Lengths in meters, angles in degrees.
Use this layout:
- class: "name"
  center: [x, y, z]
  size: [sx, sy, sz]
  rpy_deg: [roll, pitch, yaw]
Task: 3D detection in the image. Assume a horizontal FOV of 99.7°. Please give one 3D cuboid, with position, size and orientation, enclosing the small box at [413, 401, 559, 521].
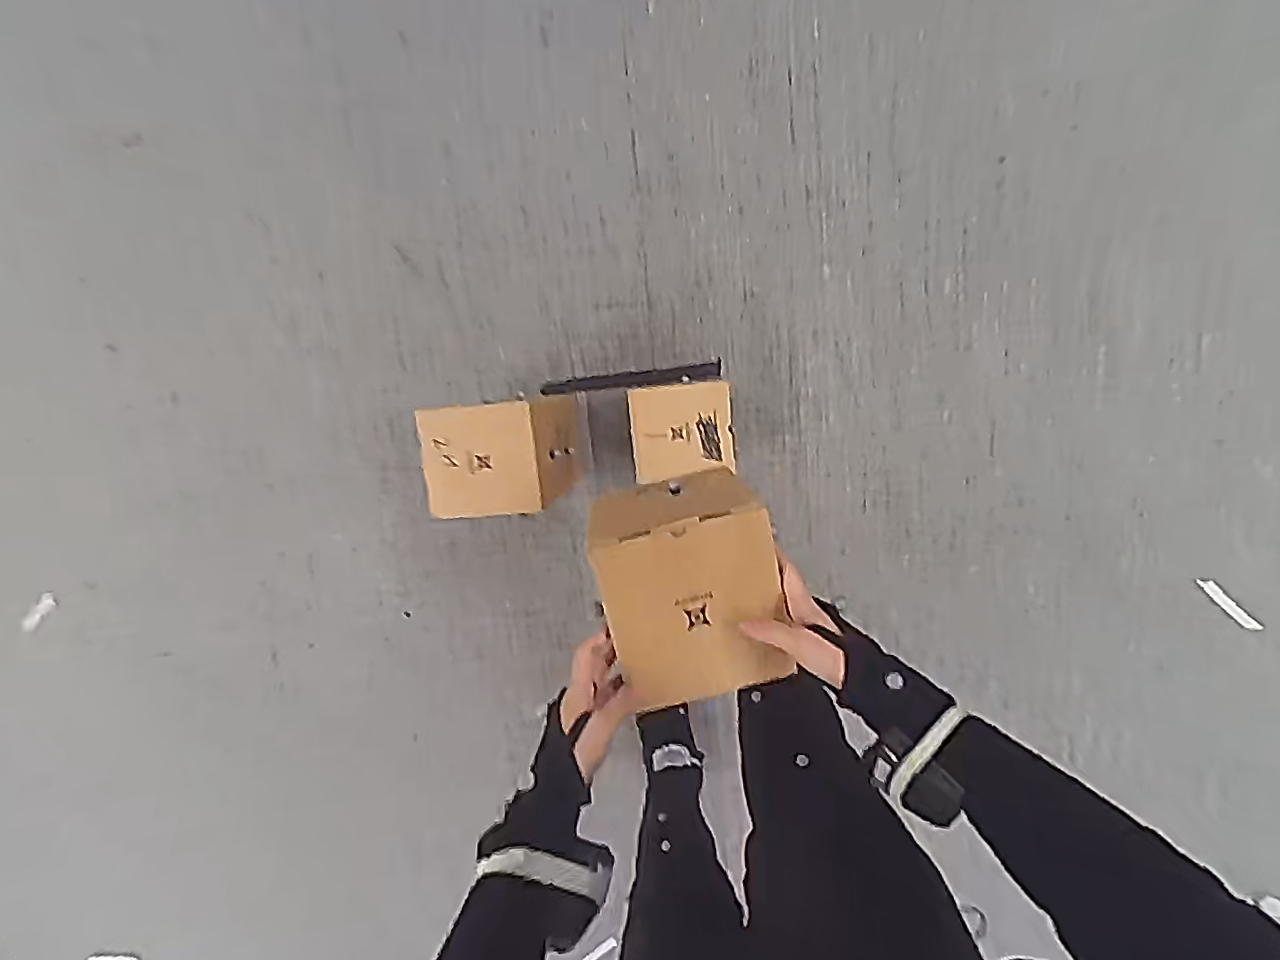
- class: "small box"
  center: [-0.233, -0.037, 0.867]
  size: [0.179, 0.176, 0.168]
  rpy_deg: [-4, 100, 6]

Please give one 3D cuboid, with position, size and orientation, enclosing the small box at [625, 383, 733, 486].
- class: "small box"
  center: [0.074, -0.089, 1.000]
  size: [0.179, 0.176, 0.168]
  rpy_deg: [-4, 100, 7]

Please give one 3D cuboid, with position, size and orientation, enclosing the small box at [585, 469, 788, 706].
- class: "small box"
  center: [0.043, 0.102, 0.581]
  size: [0.168, 0.176, 0.179]
  rpy_deg: [-14, 103, -1]
